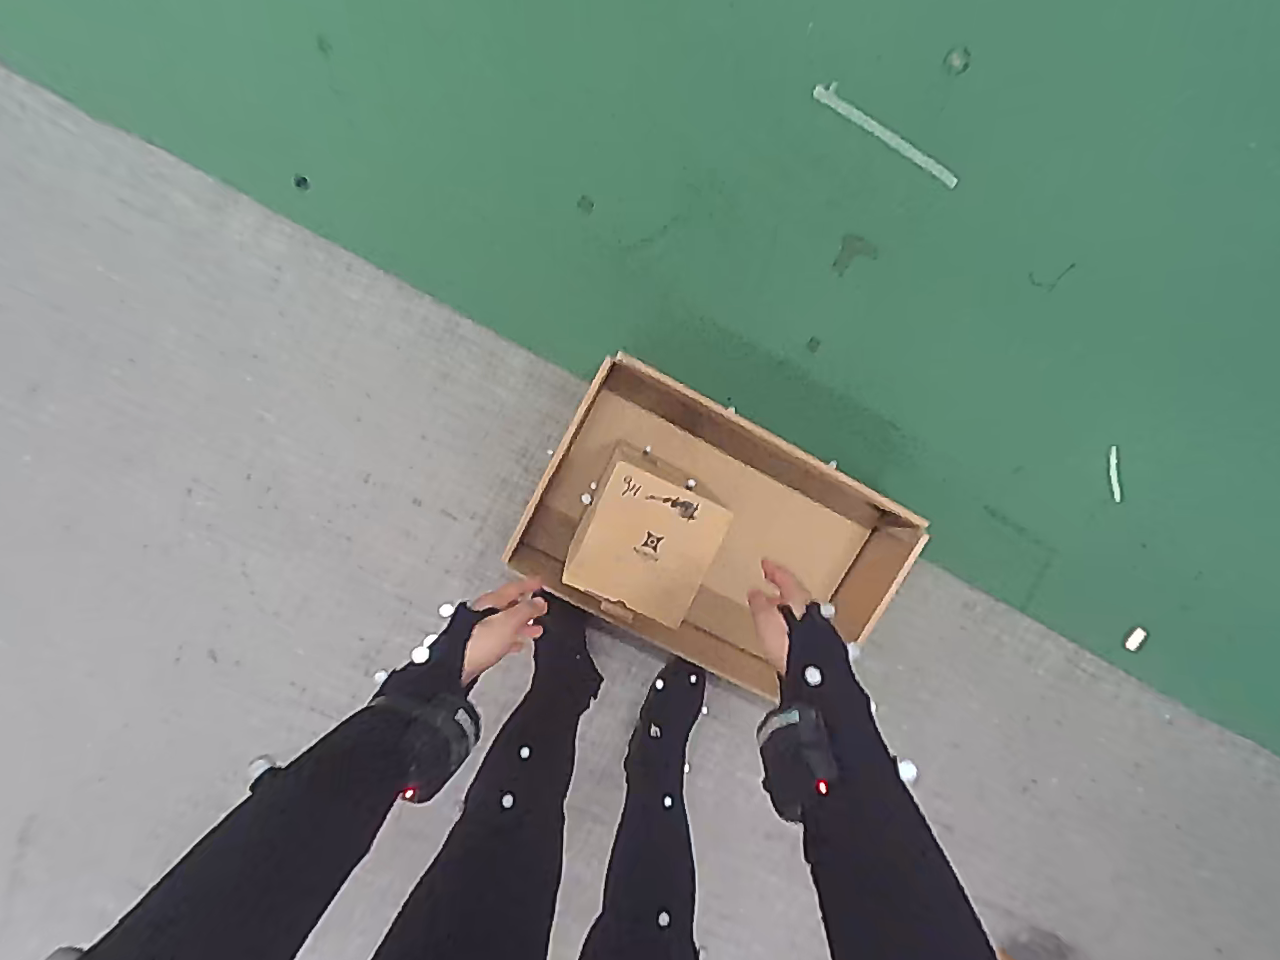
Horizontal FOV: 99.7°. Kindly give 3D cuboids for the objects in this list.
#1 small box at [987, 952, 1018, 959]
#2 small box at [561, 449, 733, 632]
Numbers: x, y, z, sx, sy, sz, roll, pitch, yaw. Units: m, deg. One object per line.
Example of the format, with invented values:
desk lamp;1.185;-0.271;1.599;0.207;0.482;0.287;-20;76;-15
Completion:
small box;0.870;1.222;1.210;0.179;0.176;0.168;33;95;-8
small box;0.006;0.074;0.756;0.168;0.176;0.179;25;98;-7
